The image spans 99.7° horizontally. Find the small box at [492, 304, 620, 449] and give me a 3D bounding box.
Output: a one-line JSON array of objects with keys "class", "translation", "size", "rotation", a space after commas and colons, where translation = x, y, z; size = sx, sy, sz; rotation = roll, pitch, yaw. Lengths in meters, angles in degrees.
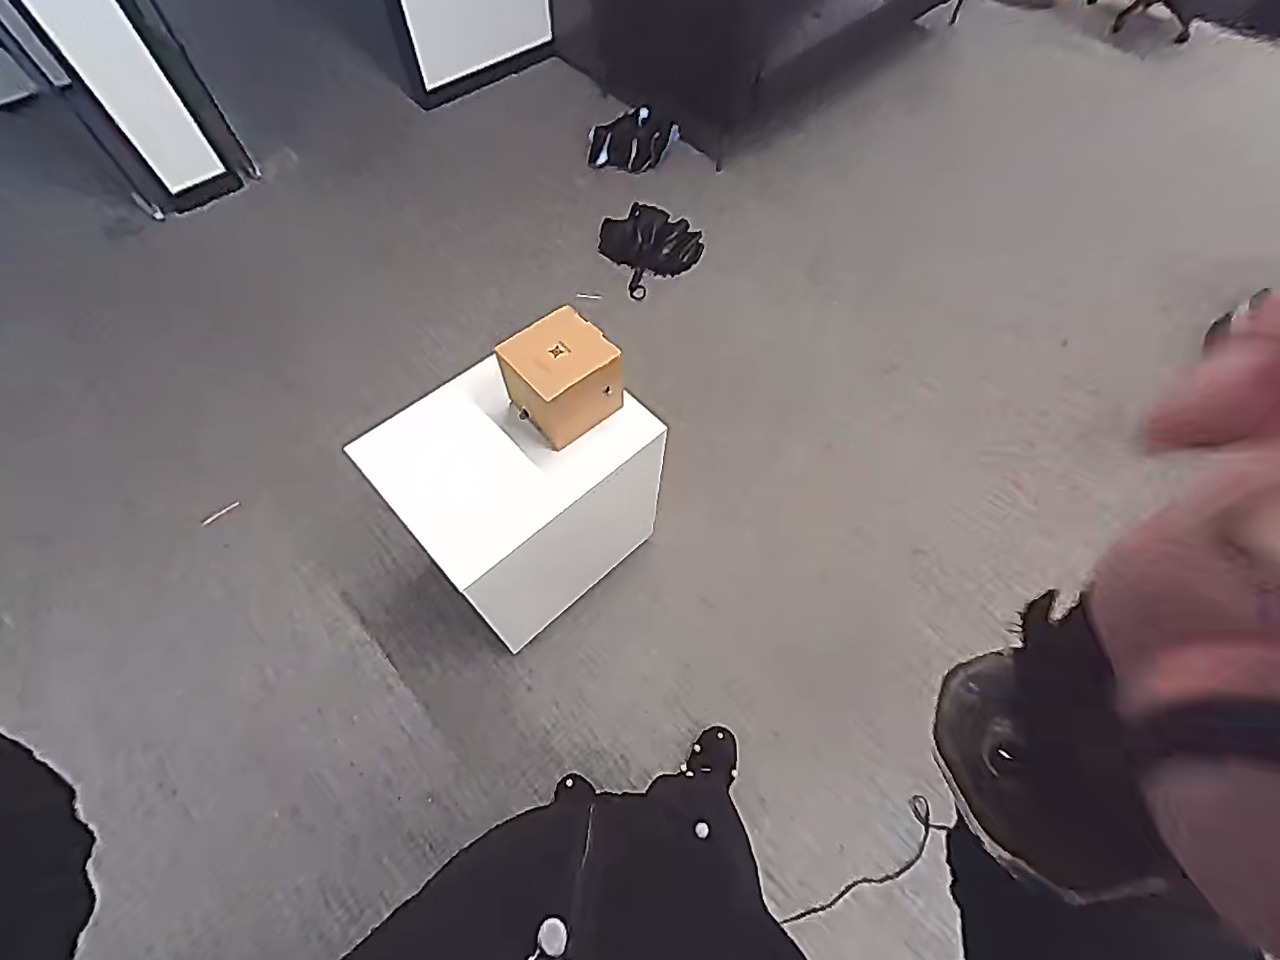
[{"class": "small box", "translation": [-0.156, -0.196, 1.049], "size": [0.179, 0.176, 0.168], "rotation": [-39, 68, -19]}]
